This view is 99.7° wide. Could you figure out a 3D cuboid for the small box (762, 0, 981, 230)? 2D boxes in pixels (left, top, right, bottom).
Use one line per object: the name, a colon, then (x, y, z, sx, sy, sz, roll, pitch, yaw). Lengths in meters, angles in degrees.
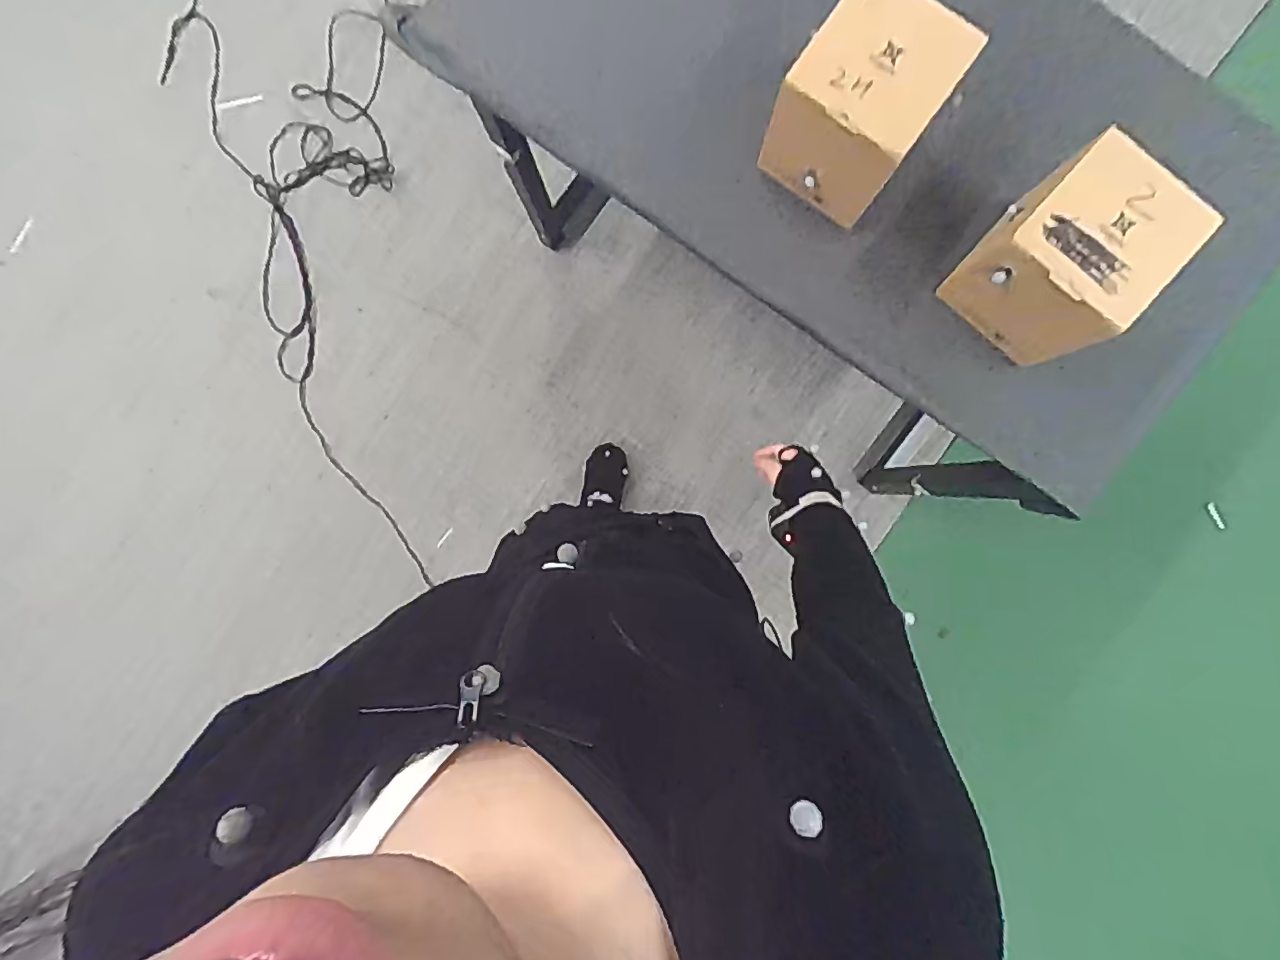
small box: (0.281, -0.473, 0.704, 0.168, 0.176, 0.179, 36, 89, 2)
